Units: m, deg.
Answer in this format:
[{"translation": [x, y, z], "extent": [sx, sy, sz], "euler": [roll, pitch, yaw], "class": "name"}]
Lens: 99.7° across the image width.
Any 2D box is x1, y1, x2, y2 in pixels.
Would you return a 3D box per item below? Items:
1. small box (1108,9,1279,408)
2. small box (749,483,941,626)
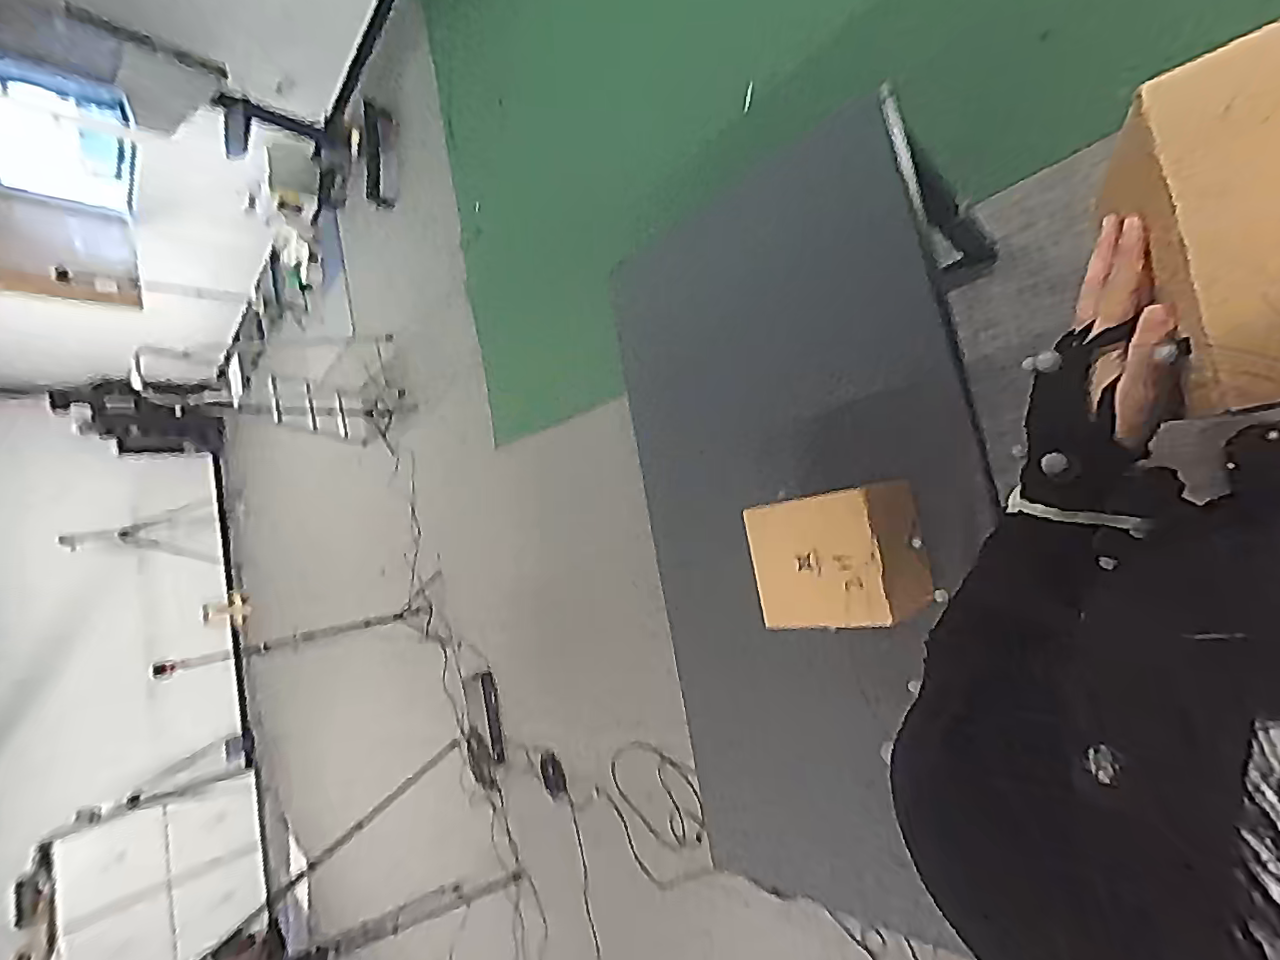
[{"translation": [0.383, -0.144, 0.288], "extent": [0.168, 0.176, 0.179], "euler": [-15, 86, 34], "class": "small box"}, {"translation": [0.282, 0.101, 0.748], "extent": [0.179, 0.176, 0.168], "euler": [-17, 81, 44], "class": "small box"}]
